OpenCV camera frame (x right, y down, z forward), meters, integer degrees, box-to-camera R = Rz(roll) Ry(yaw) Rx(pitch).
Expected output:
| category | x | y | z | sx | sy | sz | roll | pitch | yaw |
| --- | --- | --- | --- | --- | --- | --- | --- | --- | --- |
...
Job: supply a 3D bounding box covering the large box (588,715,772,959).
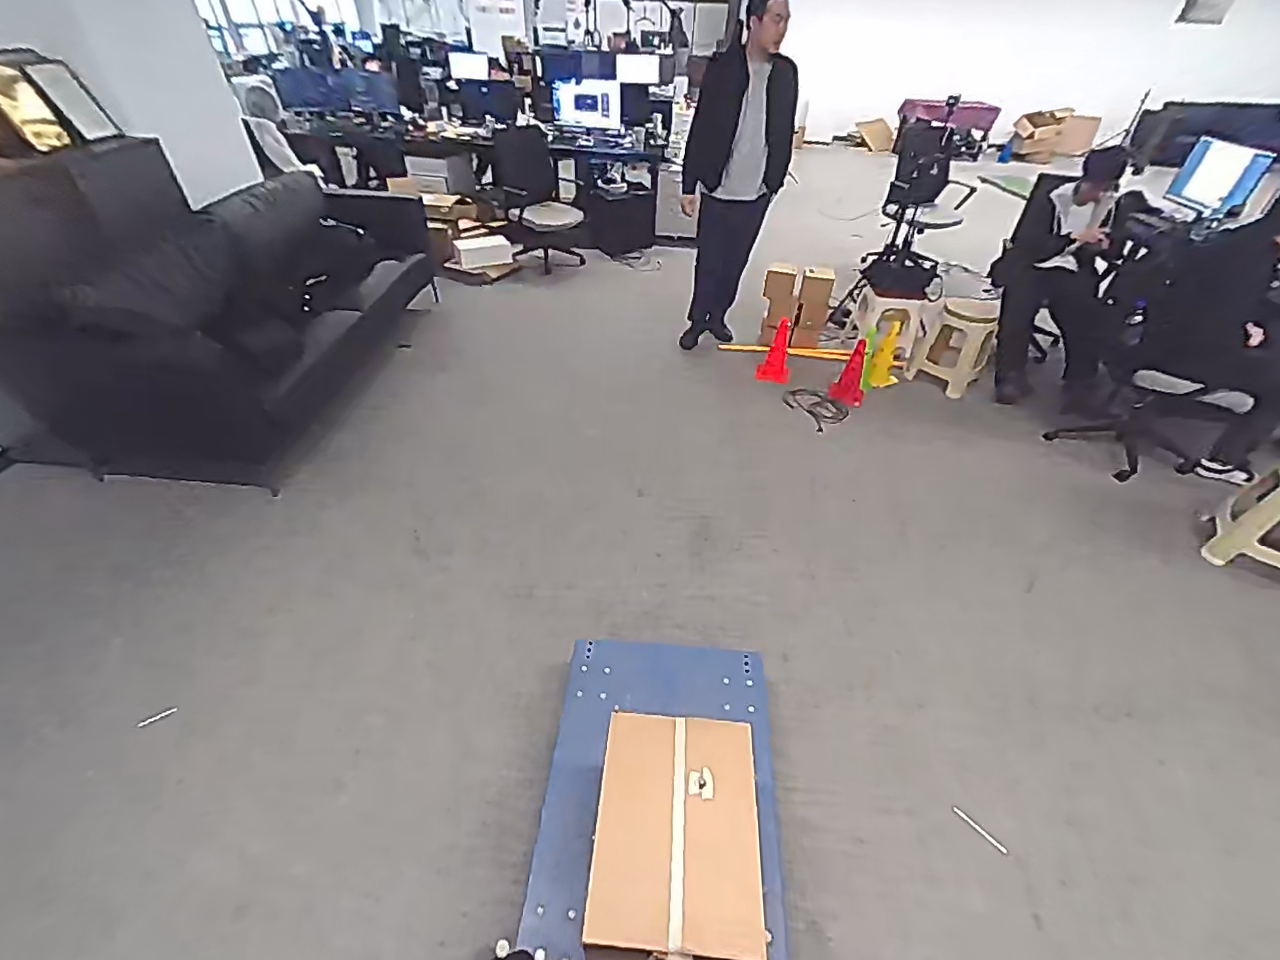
| category | x | y | z | sx | sy | sz | roll | pitch | yaw |
| --- | --- | --- | --- | --- | --- | --- | --- | --- | --- |
| large box | 0.076 | 0.770 | 1.132 | 0.320 | 0.320 | 0.408 | 4 | 40 | 2 |
